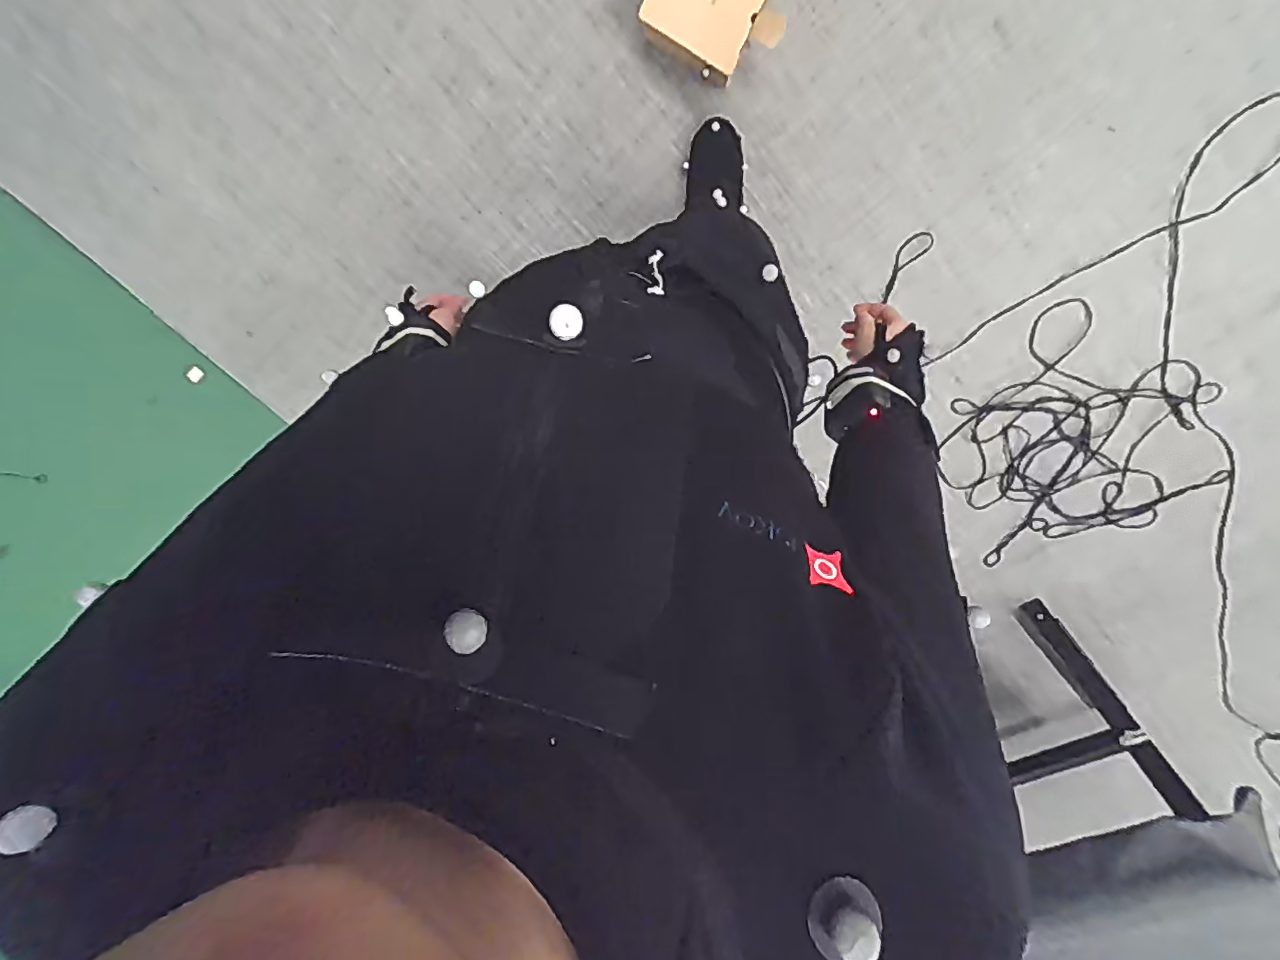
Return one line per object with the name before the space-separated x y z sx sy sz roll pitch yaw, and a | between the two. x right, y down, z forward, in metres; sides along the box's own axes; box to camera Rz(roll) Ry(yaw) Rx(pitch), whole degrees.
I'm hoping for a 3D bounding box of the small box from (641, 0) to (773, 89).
small box | 0.119 -0.799 0.916 0.179 0.176 0.168 26 119 -10
